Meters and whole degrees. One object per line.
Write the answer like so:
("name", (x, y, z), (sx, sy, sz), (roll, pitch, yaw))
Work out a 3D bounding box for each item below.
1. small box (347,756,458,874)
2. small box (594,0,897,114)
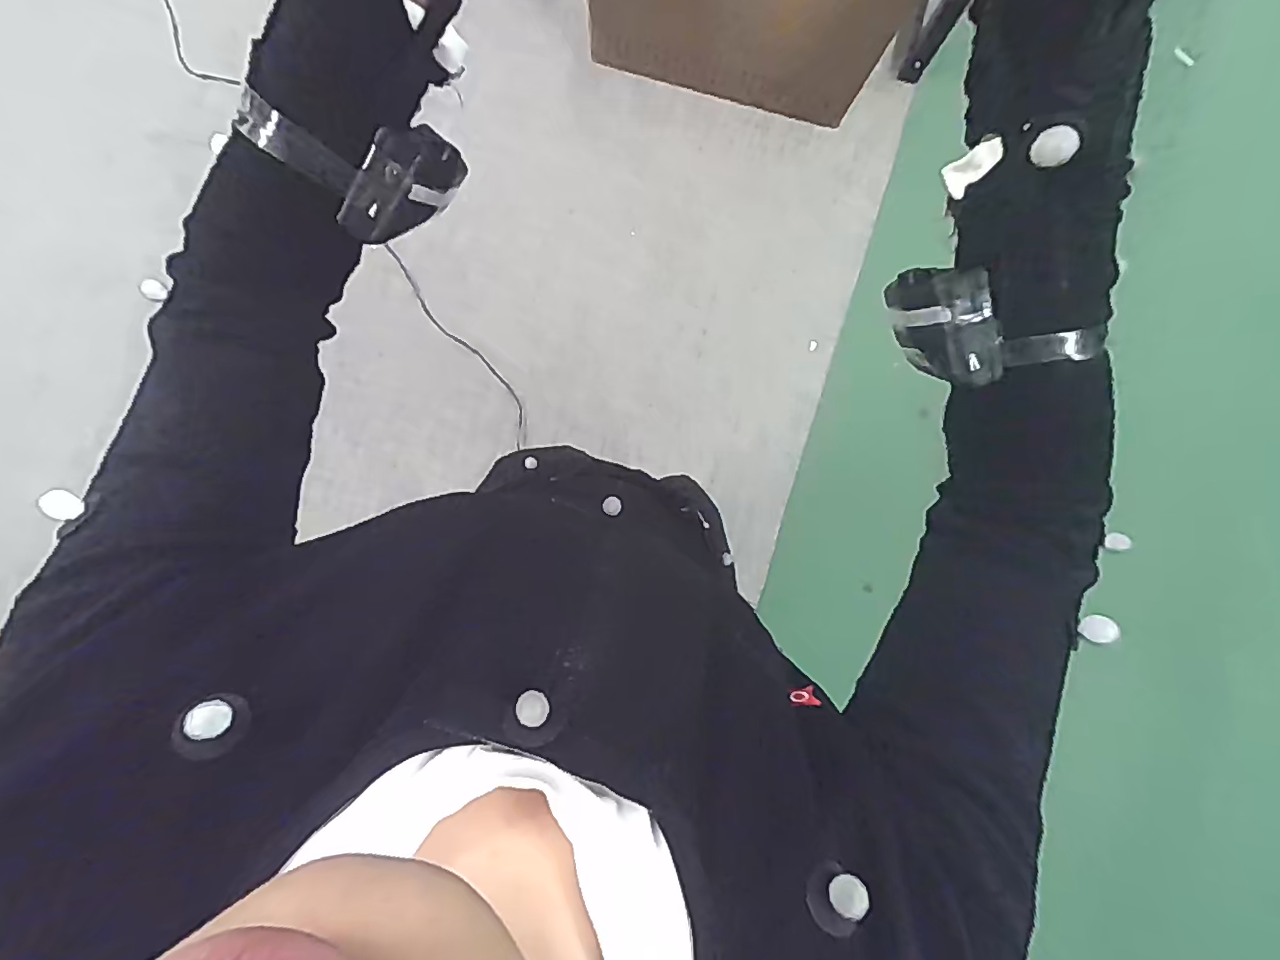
("small box", (-0.562, 0.796, 1.304), (0.179, 0.176, 0.168), (12, 87, 2))
("small box", (0.073, -0.345, 0.294), (0.179, 0.176, 0.168), (14, 88, -3))
